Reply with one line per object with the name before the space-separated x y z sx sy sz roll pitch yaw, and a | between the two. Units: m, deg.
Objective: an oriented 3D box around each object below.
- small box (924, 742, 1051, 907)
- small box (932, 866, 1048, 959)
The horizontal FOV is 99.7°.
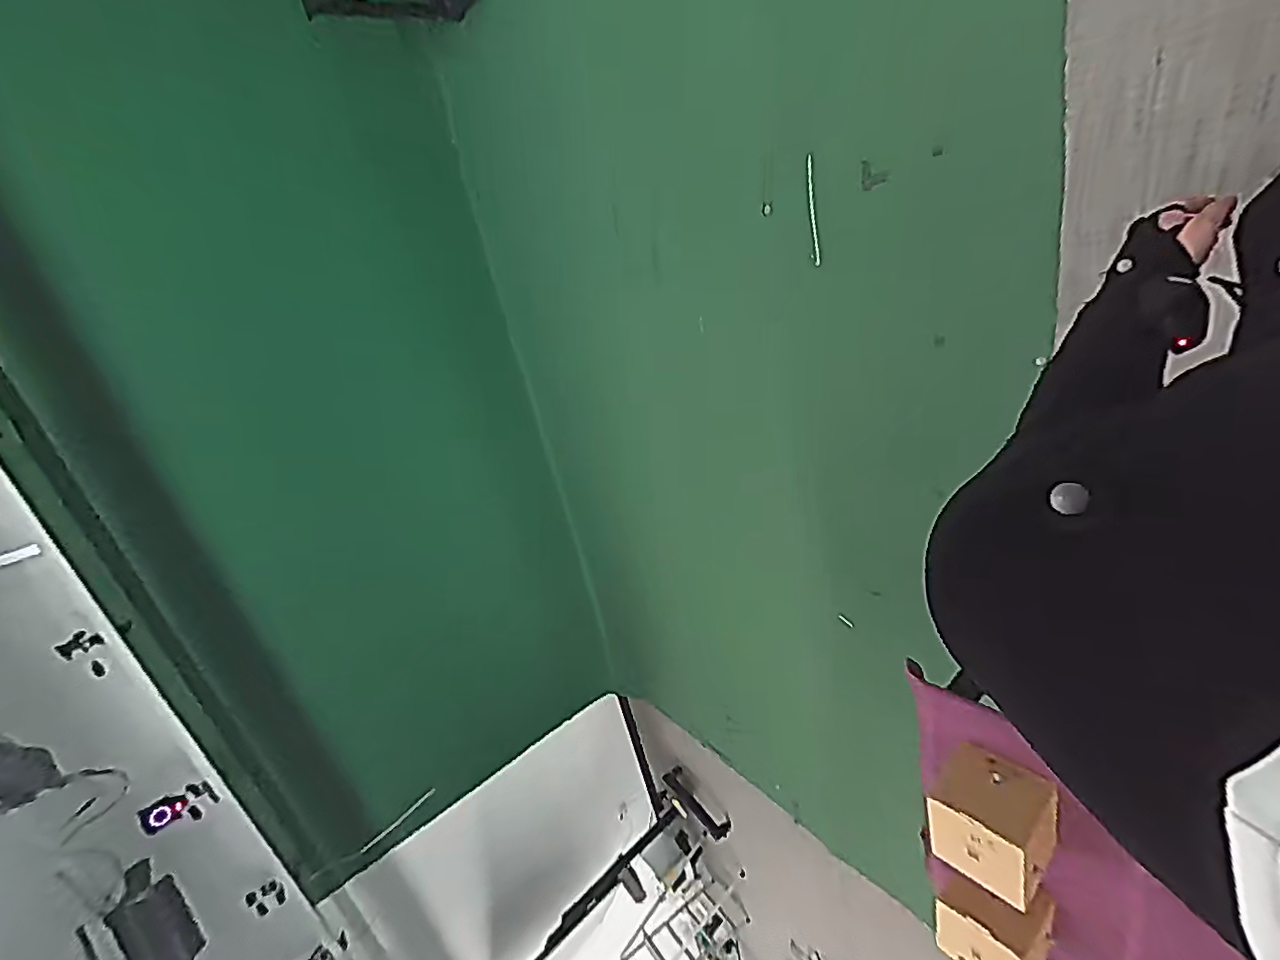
small box | 0.687 0.668 1.068 0.168 0.176 0.179 12 123 50
small box | 0.760 0.956 1.176 0.168 0.176 0.179 15 122 51
